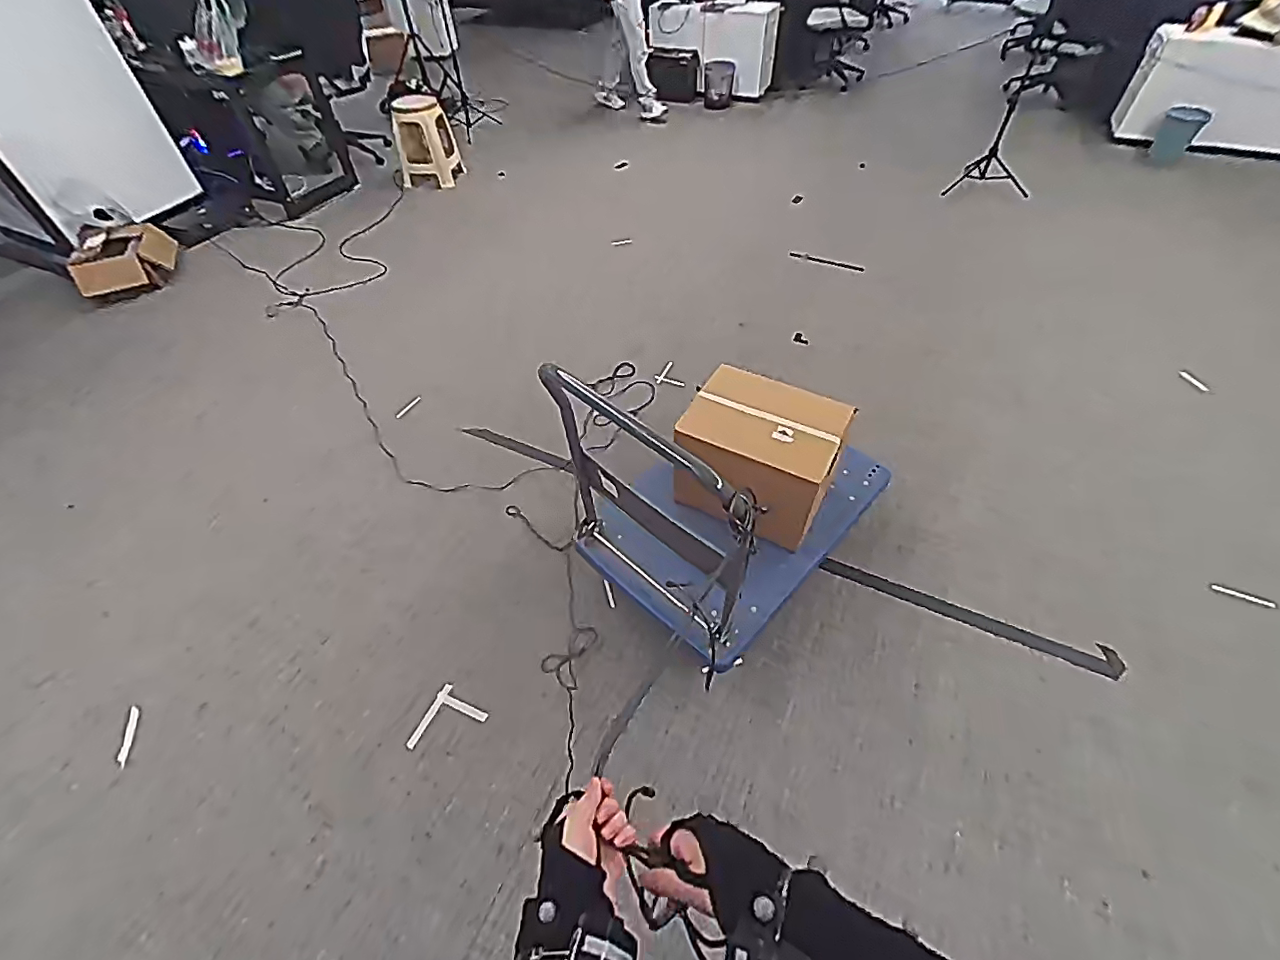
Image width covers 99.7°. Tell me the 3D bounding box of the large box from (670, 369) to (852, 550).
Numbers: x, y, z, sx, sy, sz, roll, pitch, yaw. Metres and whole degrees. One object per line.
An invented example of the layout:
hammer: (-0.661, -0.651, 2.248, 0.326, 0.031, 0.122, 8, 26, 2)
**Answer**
large box: (0.333, -0.063, 1.560, 0.408, 0.320, 0.320, 23, 55, 19)
